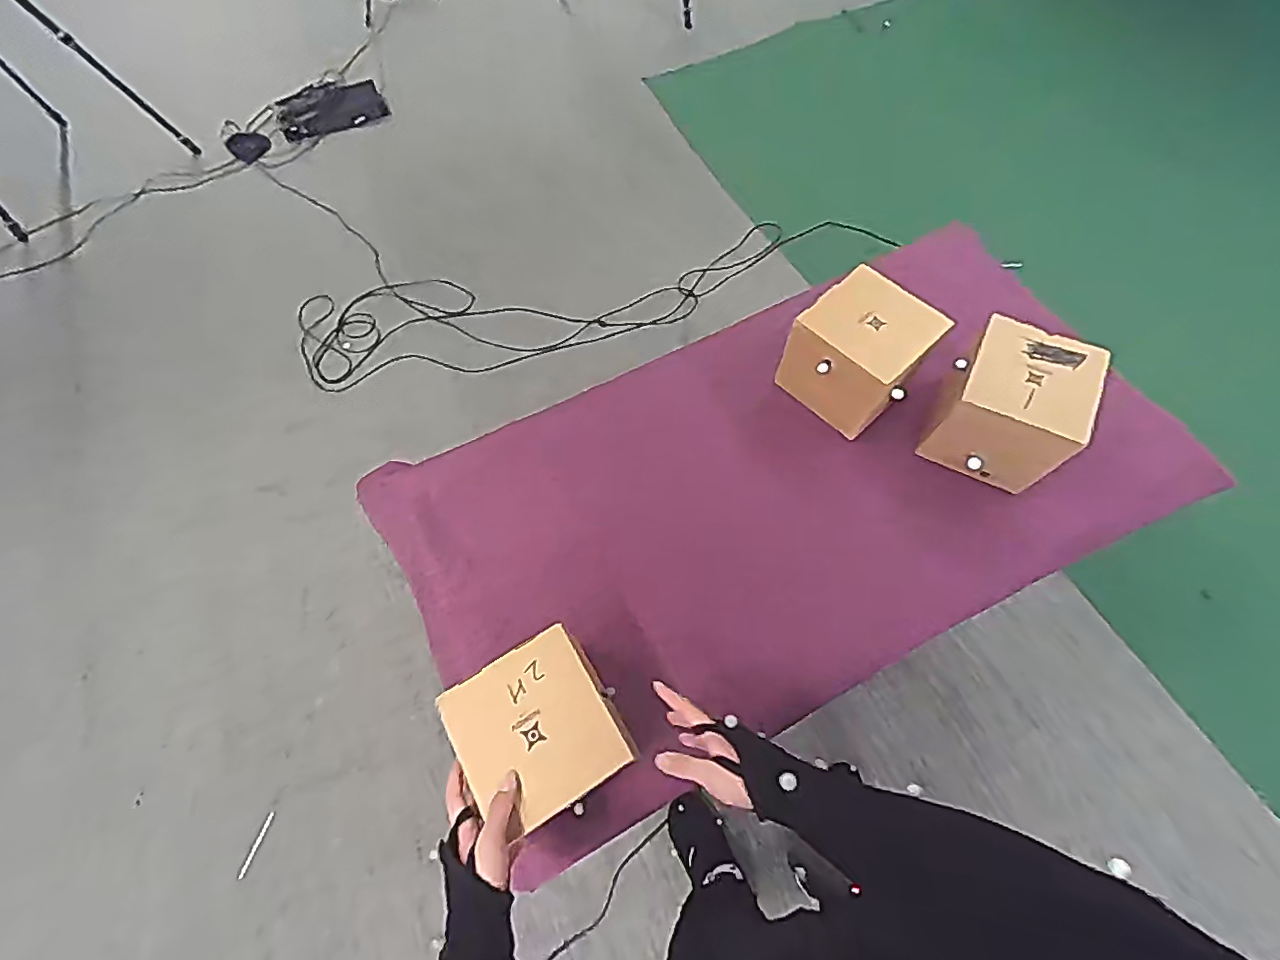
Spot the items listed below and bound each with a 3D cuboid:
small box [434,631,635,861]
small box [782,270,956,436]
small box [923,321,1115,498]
[{"bbox_3d":[-0.116,0.313,0.661,0.168,0.176,0.179,-30,66,-11],"label":"small box"},{"bbox_3d":[0.360,-0.196,0.887,0.168,0.176,0.179,-40,68,-14],"label":"small box"},{"bbox_3d":[0.566,-0.102,0.828,0.168,0.176,0.179,26,70,15],"label":"small box"}]
